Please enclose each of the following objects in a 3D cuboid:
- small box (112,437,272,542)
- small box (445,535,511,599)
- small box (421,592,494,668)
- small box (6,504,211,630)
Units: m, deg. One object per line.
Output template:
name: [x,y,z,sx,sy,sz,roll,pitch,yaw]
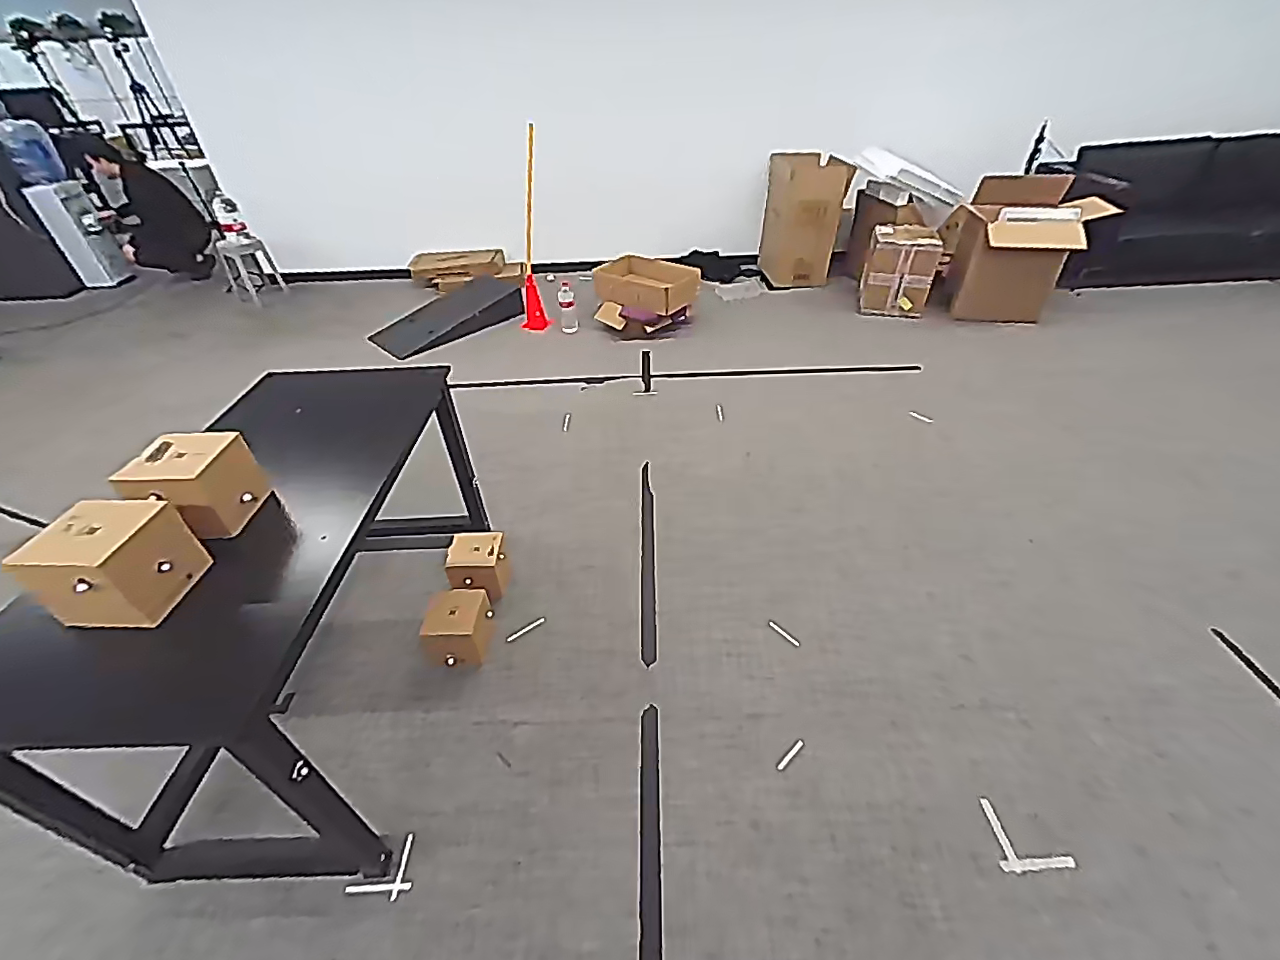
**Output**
small box: [-0.961,0.023,1.181,0.179,0.176,0.168,-2,39,0]
small box: [-0.578,0.318,1.951,0.179,0.176,0.168,-3,40,1]
small box: [-0.580,0.485,1.748,0.168,0.176,0.179,-3,40,1]
small box: [-0.965,0.163,1.006,0.179,0.176,0.168,0,38,4]
